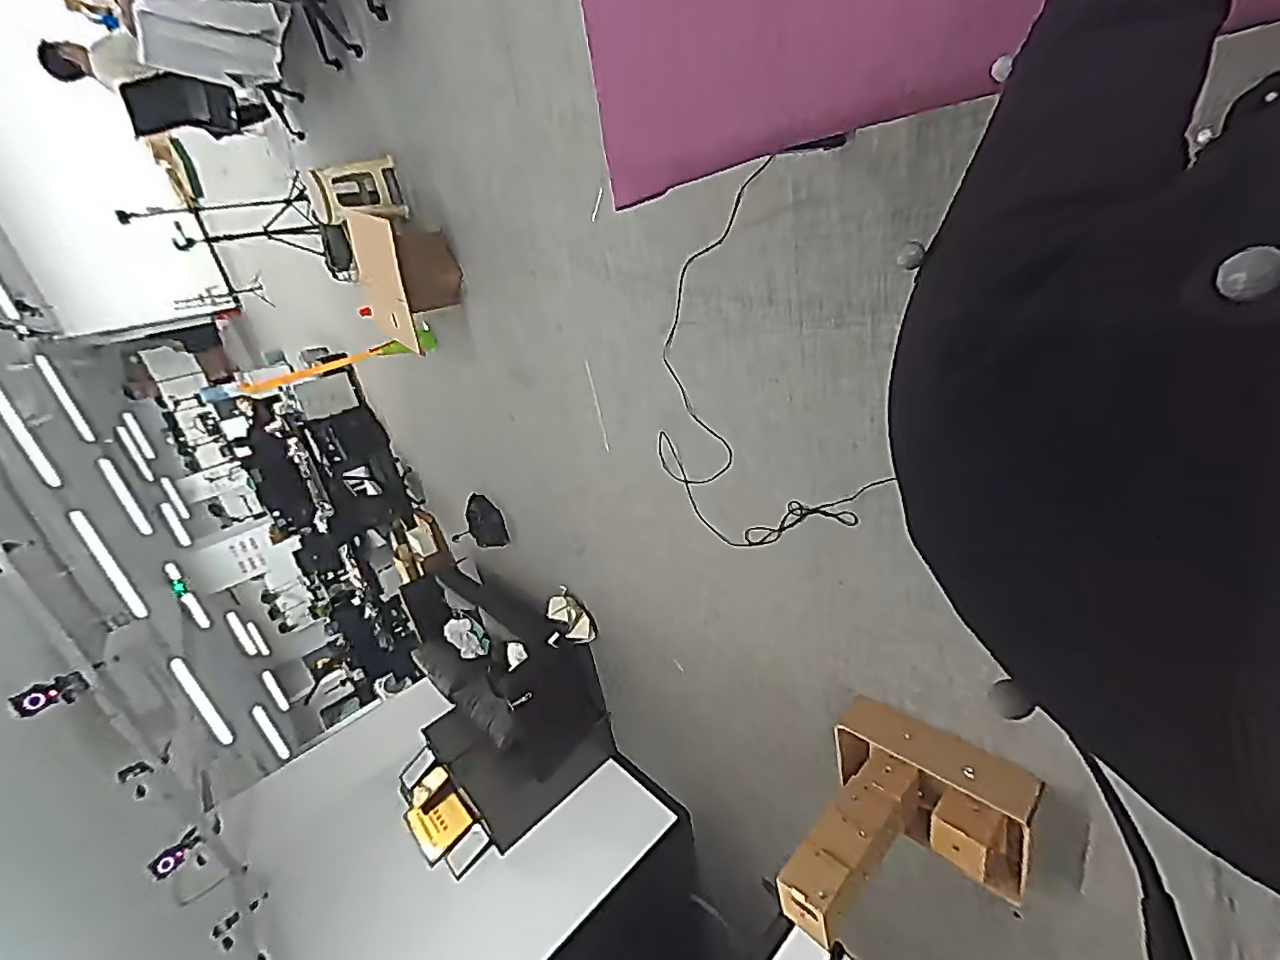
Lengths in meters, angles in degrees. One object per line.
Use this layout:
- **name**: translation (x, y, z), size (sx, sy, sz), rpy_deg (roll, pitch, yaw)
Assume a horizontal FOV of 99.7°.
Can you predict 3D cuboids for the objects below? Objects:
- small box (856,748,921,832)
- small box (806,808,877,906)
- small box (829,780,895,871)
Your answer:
- **small box**: translation (0.929, 1.145, 2.014), size (0.168, 0.176, 0.179), rpy_deg (6, 118, 48)
- **small box**: translation (0.684, 1.266, 1.830), size (0.168, 0.176, 0.179), rpy_deg (14, 123, 47)
- **small box**: translation (0.790, 1.215, 1.919), size (0.168, 0.176, 0.179), rpy_deg (12, 122, 47)
